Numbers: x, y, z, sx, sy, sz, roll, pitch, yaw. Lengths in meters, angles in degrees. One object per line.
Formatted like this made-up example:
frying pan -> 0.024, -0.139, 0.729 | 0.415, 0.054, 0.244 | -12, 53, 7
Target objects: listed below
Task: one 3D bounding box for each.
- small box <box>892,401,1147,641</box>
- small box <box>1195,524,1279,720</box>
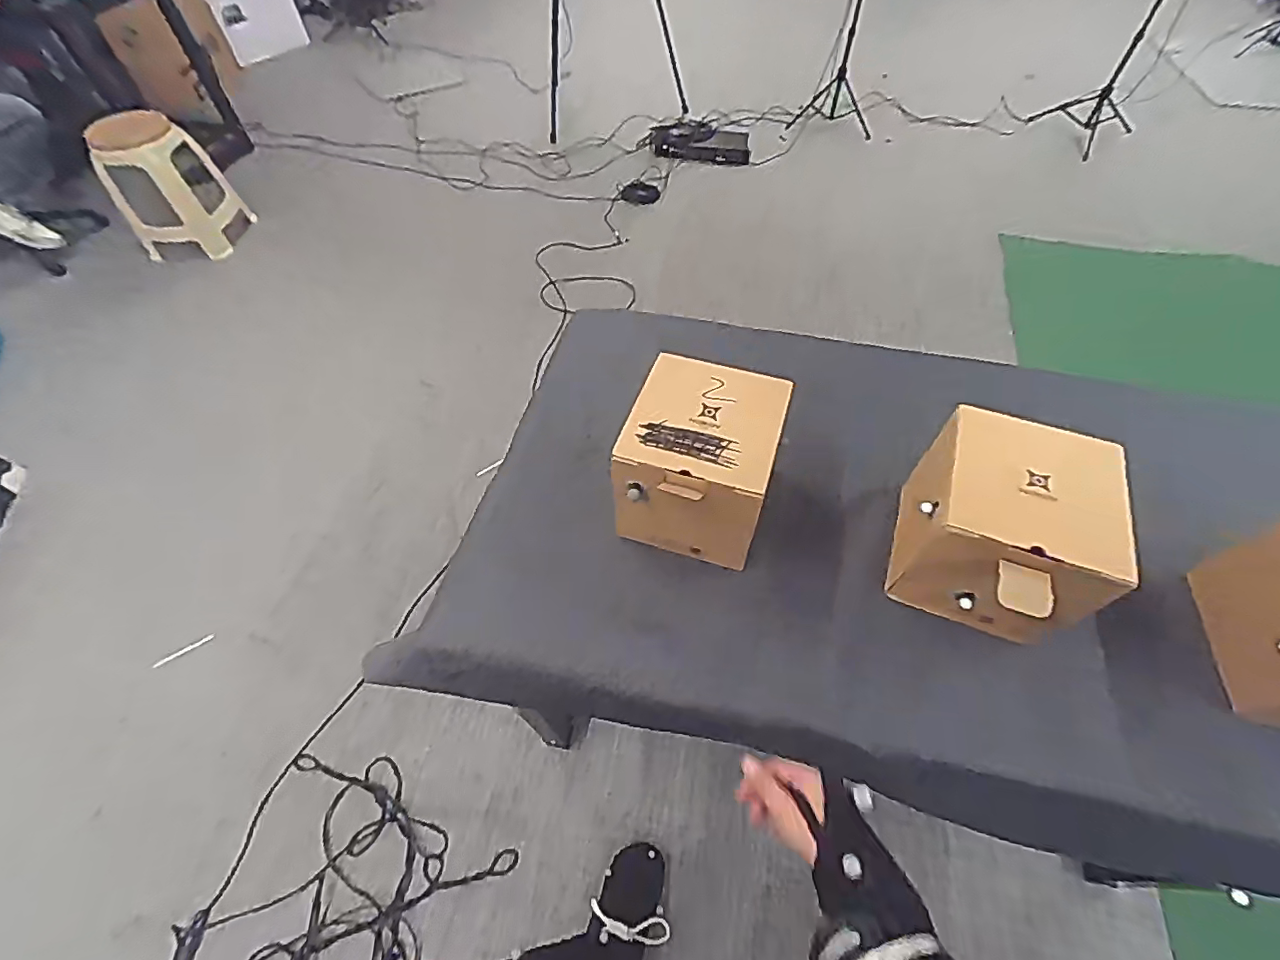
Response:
small box -> 0.401, 0.048, 0.601 | 0.168, 0.176, 0.179 | 19, 57, 13
small box -> 0.718, 0.148, 0.525 | 0.168, 0.176, 0.179 | 12, 54, 8
